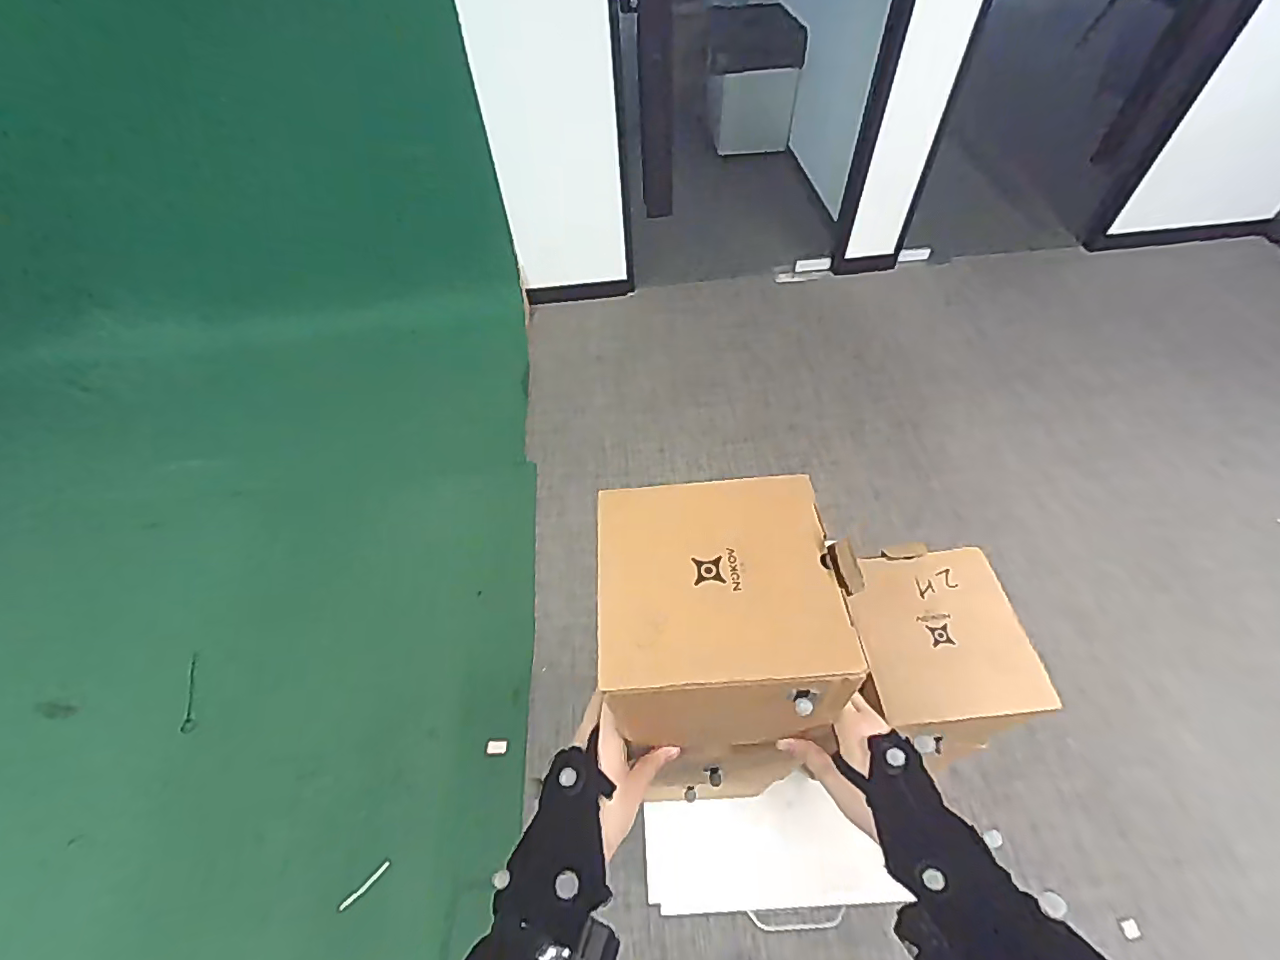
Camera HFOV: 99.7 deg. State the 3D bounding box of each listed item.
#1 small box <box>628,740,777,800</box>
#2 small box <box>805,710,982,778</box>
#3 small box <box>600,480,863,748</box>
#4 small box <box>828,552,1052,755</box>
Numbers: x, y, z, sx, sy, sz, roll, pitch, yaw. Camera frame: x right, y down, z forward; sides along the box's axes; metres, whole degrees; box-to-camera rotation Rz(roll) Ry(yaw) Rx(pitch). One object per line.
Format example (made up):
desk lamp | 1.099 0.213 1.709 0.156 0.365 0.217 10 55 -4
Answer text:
small box | 0.074 0.333 0.740 0.179 0.176 0.168 -3 53 -1
small box | 0.320 0.306 0.749 0.179 0.176 0.168 -3 53 0
small box | 0.063 0.120 0.464 0.179 0.176 0.168 -4 51 1
small box | 0.306 0.205 0.620 0.168 0.176 0.179 -5 53 -1
